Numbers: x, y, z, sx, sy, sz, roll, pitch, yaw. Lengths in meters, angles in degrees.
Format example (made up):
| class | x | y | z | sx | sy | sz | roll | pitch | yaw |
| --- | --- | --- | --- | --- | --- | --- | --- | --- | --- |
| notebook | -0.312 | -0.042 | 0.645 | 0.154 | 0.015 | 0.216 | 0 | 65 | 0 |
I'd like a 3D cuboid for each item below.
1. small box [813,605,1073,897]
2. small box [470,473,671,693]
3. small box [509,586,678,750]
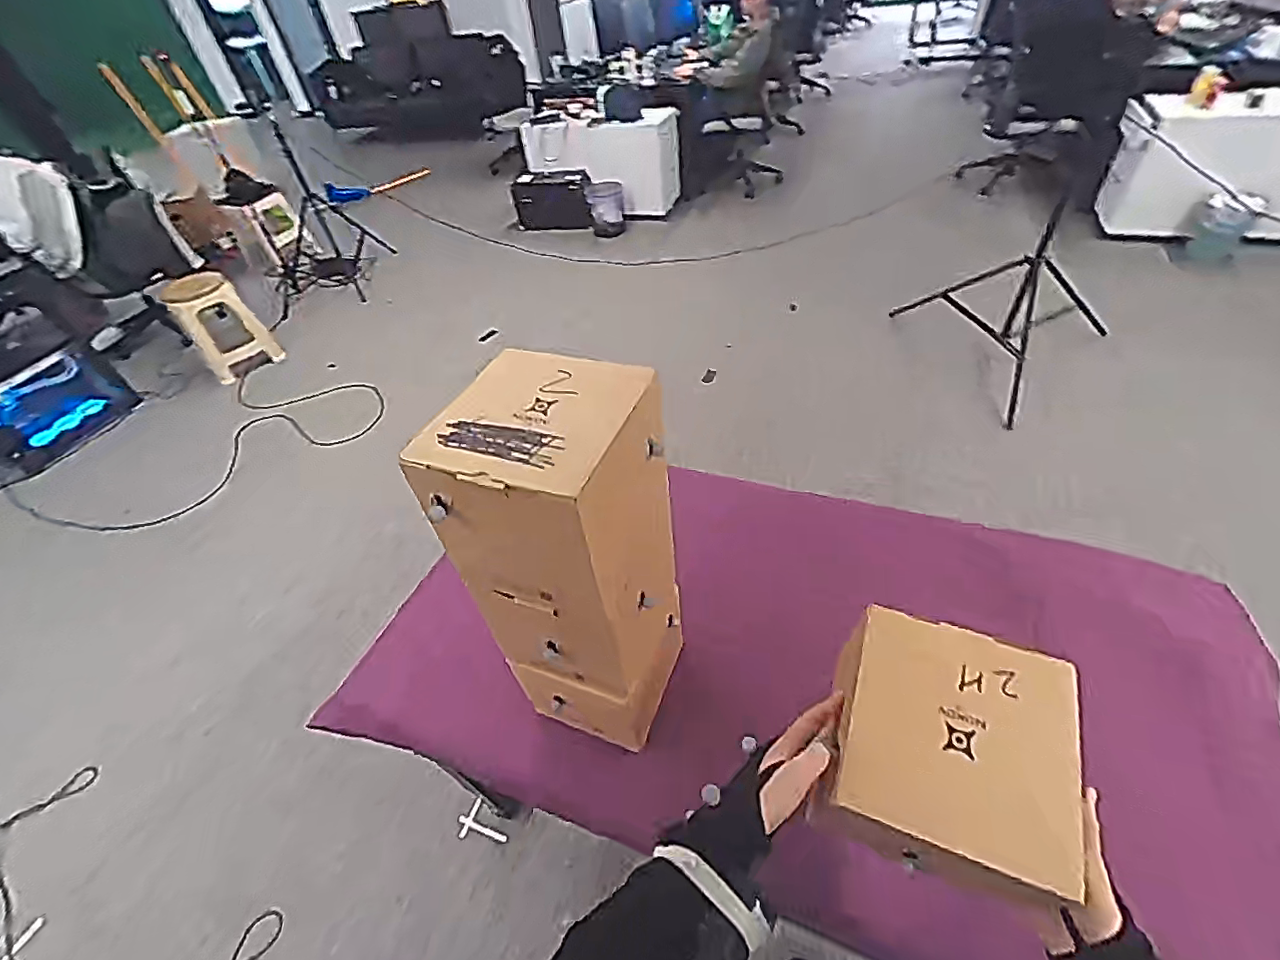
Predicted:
| class | x | y | z | sx | sy | sz | roll | pitch | yaw |
| --- | --- | --- | --- | --- | --- | --- | --- | --- | --- |
| small box | 0.269 | 0.252 | 0.507 | 0.168 | 0.176 | 0.179 | 16 | 56 | 18 |
| small box | -0.064 | 0.122 | 0.640 | 0.168 | 0.176 | 0.179 | 12 | 48 | 17 |
| small box | -0.050 | 0.242 | 0.751 | 0.168 | 0.176 | 0.179 | 13 | 48 | 19 |
